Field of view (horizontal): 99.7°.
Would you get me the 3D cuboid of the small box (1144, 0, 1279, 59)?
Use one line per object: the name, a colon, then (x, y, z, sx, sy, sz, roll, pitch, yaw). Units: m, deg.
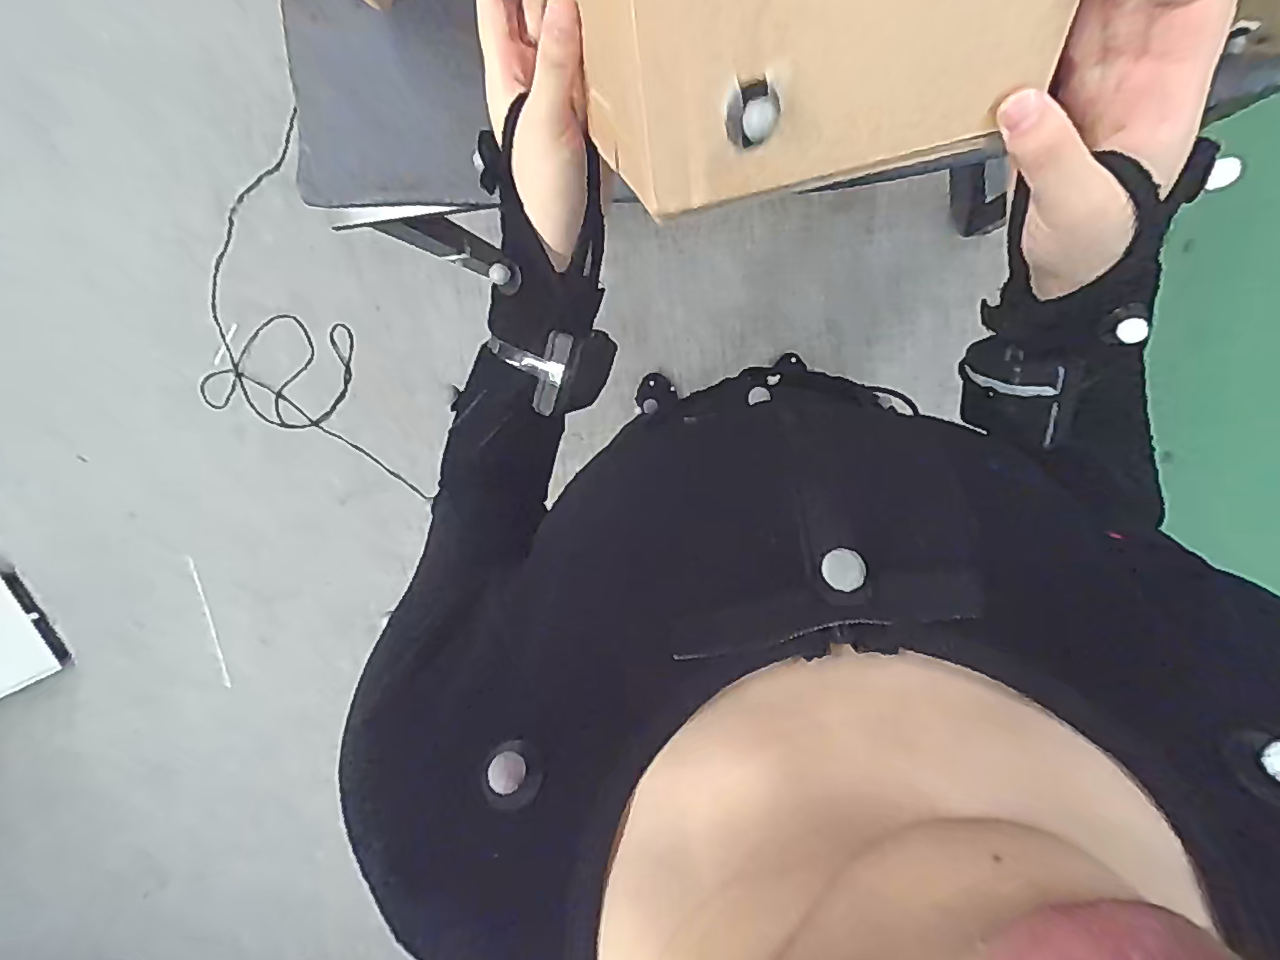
small box: (0.616, -0.530, 0.490, 0.168, 0.176, 0.179, 4, 98, 8)

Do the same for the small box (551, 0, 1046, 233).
small box: (0.054, -0.235, 0.215, 0.179, 0.168, 0.176, -17, 140, -4)
